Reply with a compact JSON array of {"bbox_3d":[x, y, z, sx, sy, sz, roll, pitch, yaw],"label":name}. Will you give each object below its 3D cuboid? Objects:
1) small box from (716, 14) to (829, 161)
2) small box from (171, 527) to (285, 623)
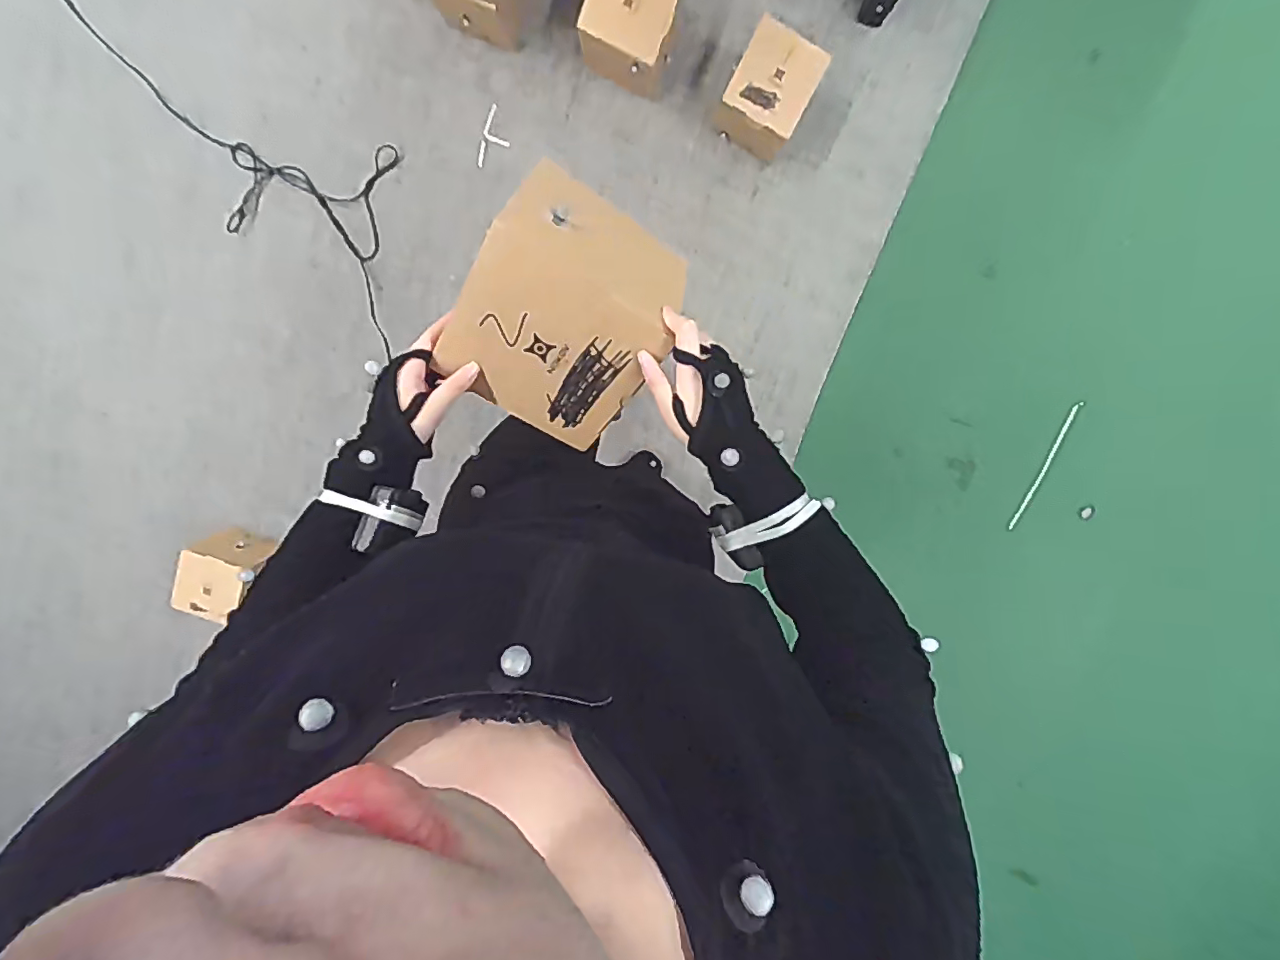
[{"bbox_3d":[0.280,-0.848,1.192,0.168,0.176,0.179,28,101,-6],"label":"small box"},{"bbox_3d":[-1.100,0.247,1.458,0.168,0.176,0.179,22,102,-5],"label":"small box"}]
